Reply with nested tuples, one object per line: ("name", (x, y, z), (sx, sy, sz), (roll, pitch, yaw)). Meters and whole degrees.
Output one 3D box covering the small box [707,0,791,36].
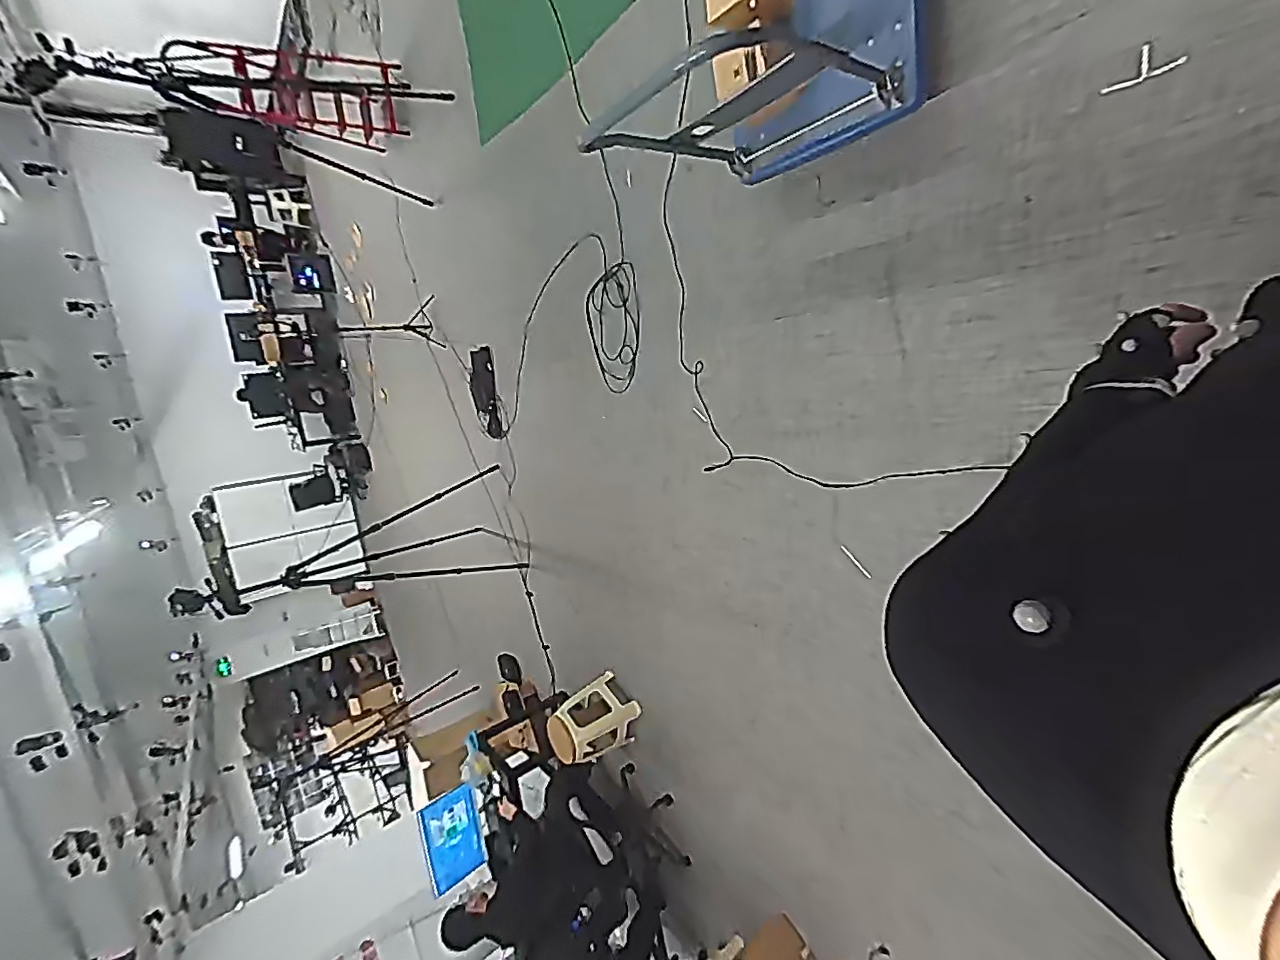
("small box", (0.300, -1.378, 1.490), (0.179, 0.176, 0.168), (7, 107, 50))
